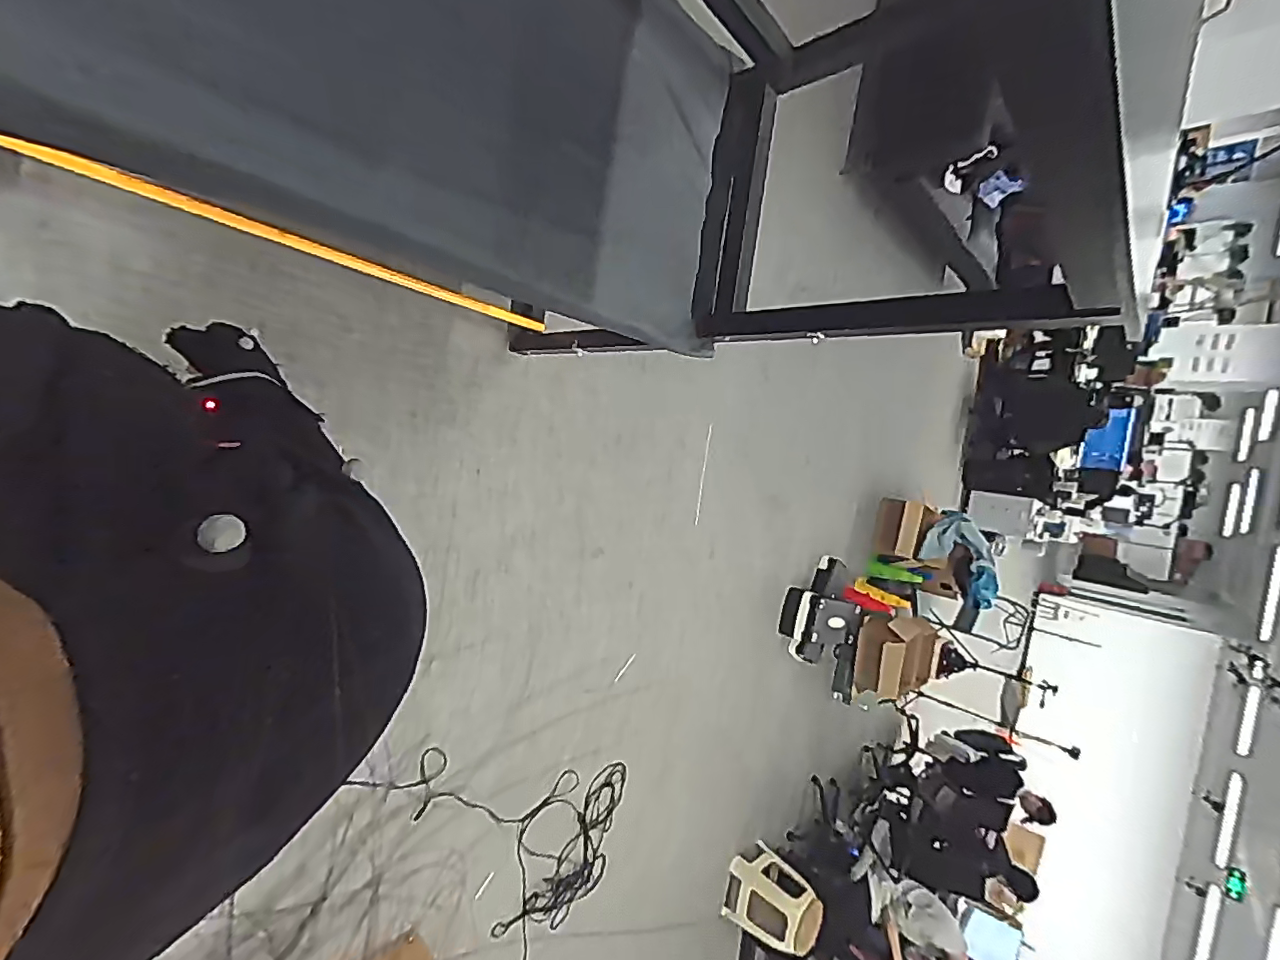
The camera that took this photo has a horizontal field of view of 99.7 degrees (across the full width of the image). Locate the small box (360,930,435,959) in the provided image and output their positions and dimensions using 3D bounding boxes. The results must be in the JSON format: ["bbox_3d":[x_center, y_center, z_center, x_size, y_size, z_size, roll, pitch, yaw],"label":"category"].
[{"bbox_3d":[-0.742,1.521,1.633,0.168,0.176,0.179,3,96,-47],"label":"small box"}]
